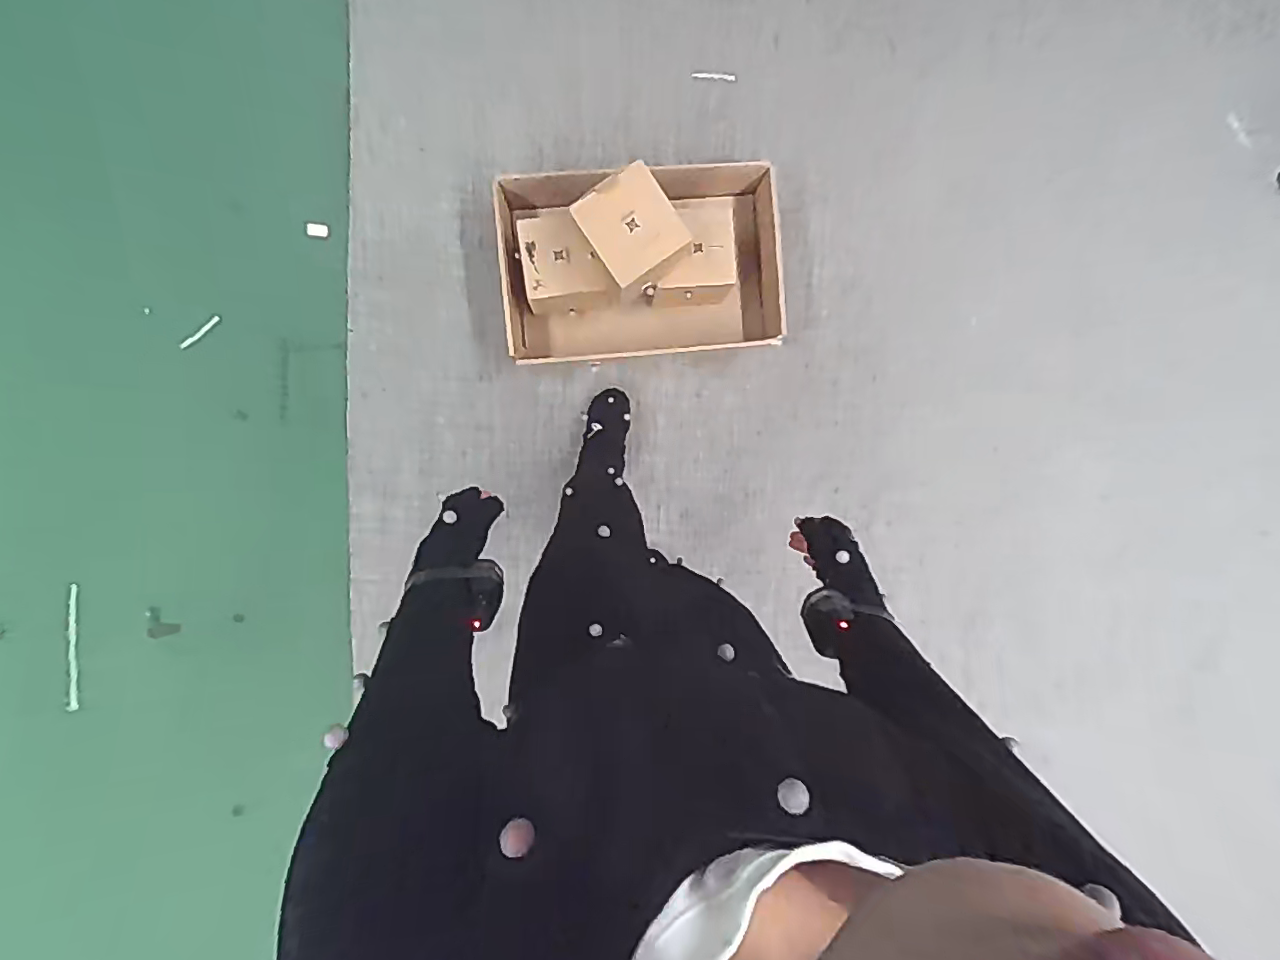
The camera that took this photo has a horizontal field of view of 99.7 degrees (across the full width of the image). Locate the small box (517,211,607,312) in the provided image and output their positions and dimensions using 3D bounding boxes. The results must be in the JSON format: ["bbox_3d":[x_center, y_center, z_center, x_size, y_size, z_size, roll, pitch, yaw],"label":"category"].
[{"bbox_3d":[-0.173,-0.489,1.224,0.179,0.176,0.168,-8,94,-6],"label":"small box"}]

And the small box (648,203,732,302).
[{"bbox_3d":[0.106,-0.515,1.242,0.179,0.176,0.168,-4,95,-3],"label":"small box"}]

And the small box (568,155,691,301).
[{"bbox_3d":[-0.026,-0.486,1.073,0.168,0.176,0.179,-36,97,-1],"label":"small box"}]
